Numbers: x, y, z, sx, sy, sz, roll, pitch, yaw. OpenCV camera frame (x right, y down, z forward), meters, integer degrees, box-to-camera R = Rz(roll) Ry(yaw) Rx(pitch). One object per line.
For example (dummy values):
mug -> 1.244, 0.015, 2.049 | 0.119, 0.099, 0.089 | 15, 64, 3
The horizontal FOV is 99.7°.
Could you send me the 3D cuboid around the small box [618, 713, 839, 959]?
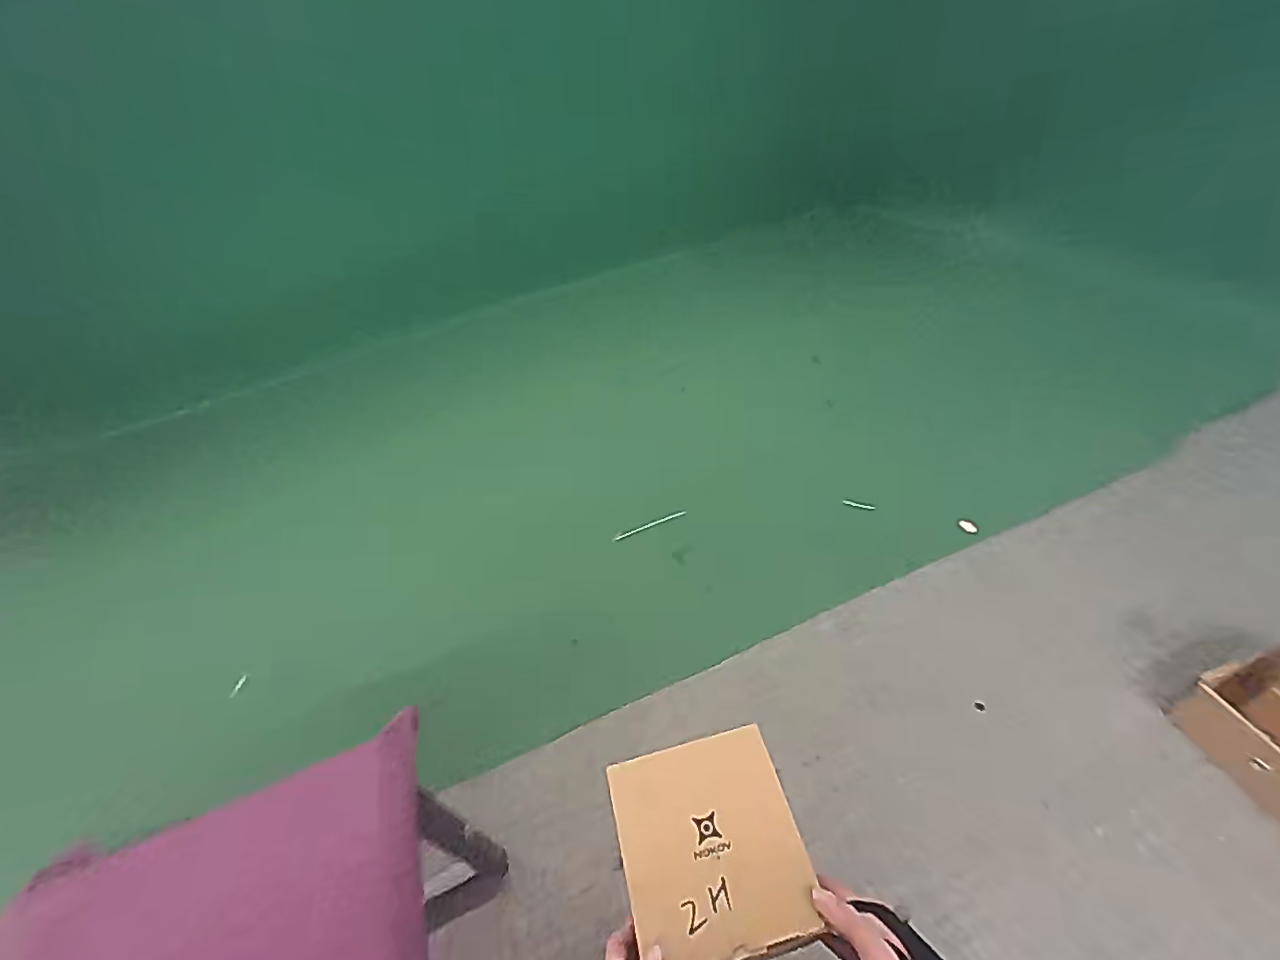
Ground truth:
small box -> 0.079, 0.375, 0.559 | 0.168, 0.176, 0.179 | -13, 46, -4
